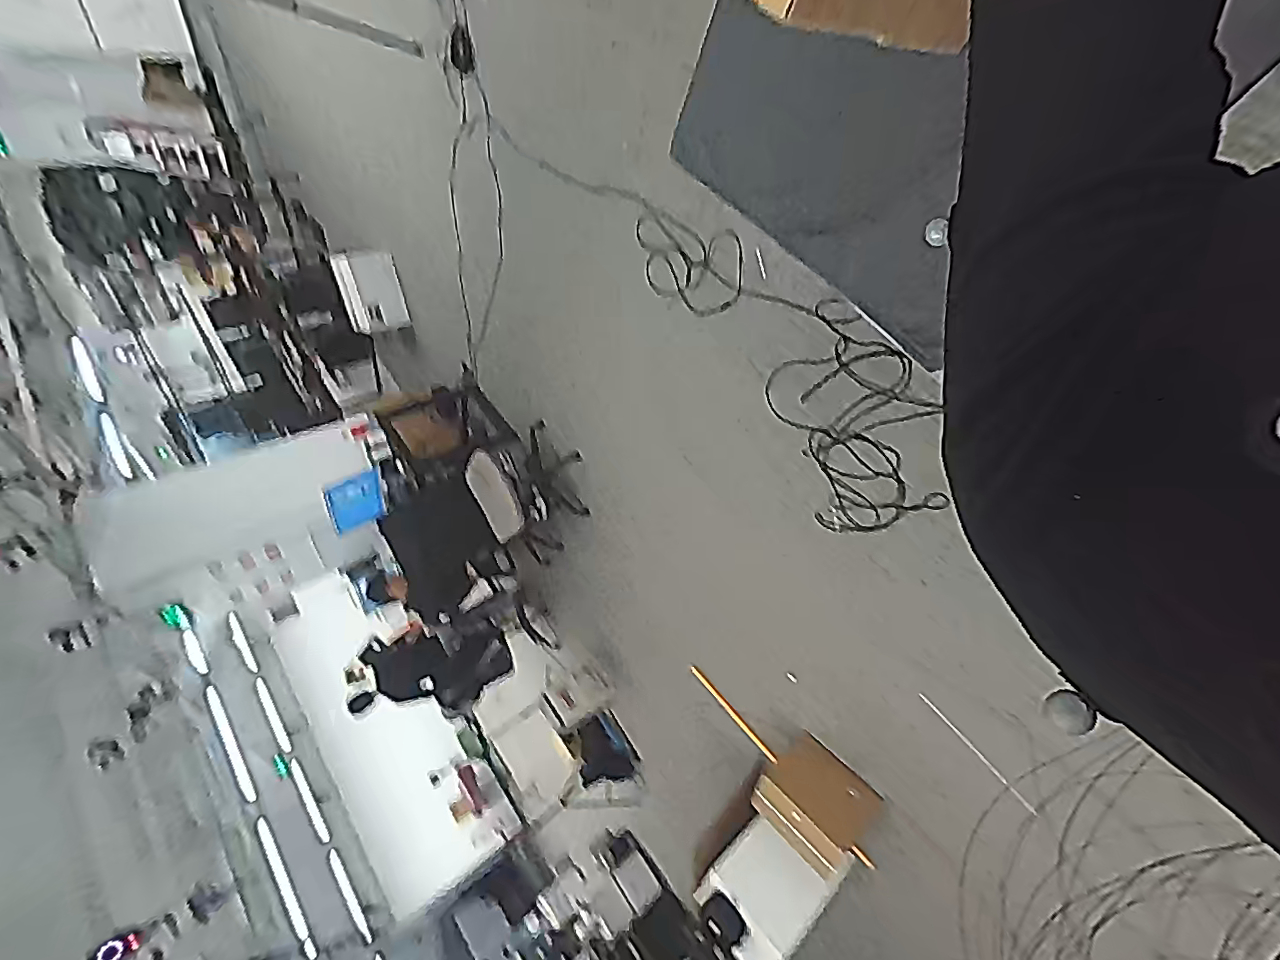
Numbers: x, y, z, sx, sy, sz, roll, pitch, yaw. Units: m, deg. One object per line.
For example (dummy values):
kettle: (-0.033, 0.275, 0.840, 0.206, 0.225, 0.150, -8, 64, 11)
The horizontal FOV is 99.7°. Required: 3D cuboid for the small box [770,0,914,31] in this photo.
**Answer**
small box: (0.154, -0.488, 0.412, 0.168, 0.176, 0.179, 52, 144, 18)
